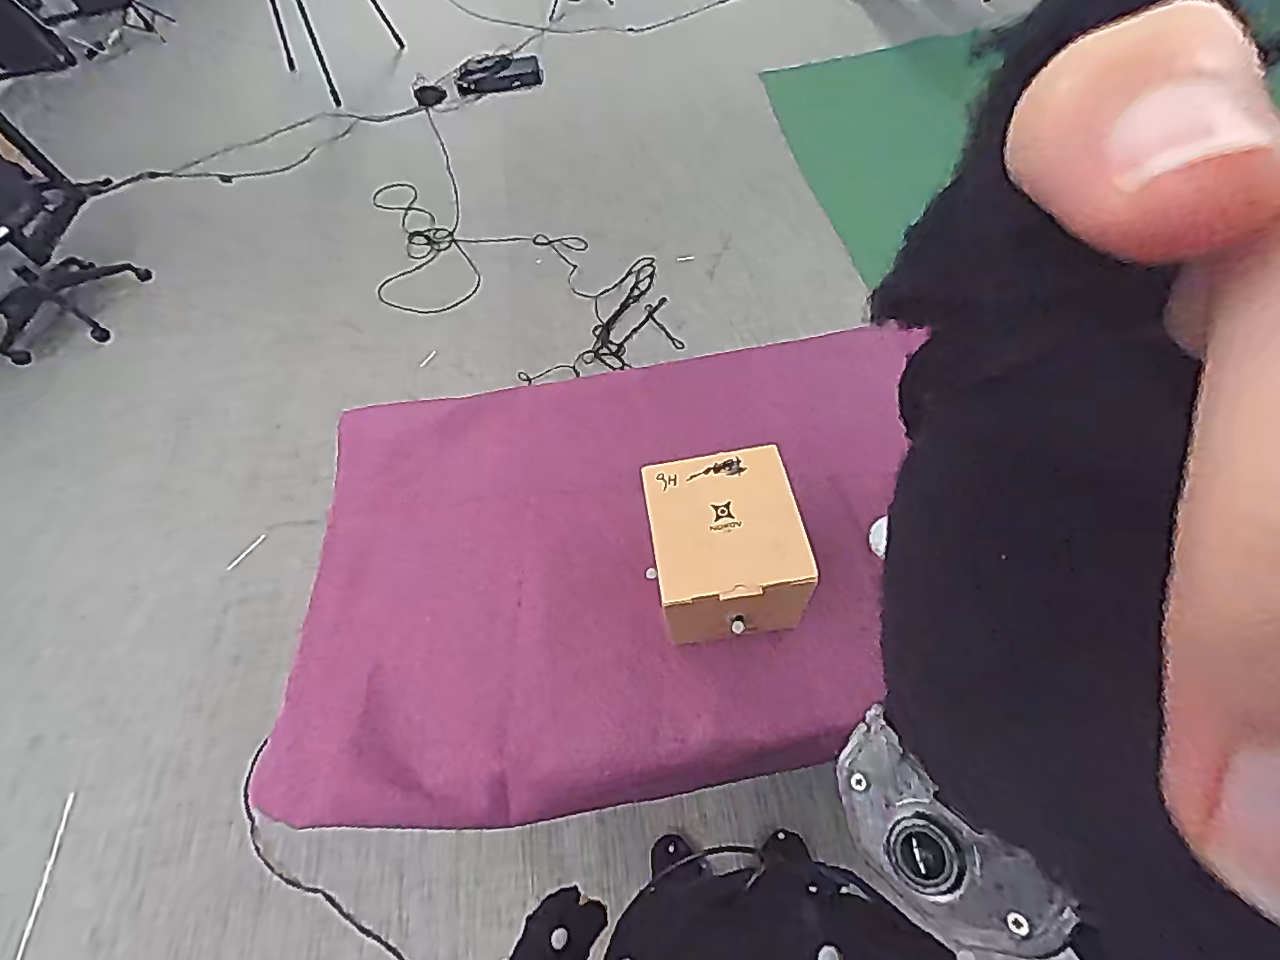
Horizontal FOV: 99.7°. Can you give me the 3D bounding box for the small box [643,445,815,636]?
[{"bbox_3d":[0.102,0.084,0.669,0.168,0.176,0.179,-10,59,2],"label":"small box"}]
